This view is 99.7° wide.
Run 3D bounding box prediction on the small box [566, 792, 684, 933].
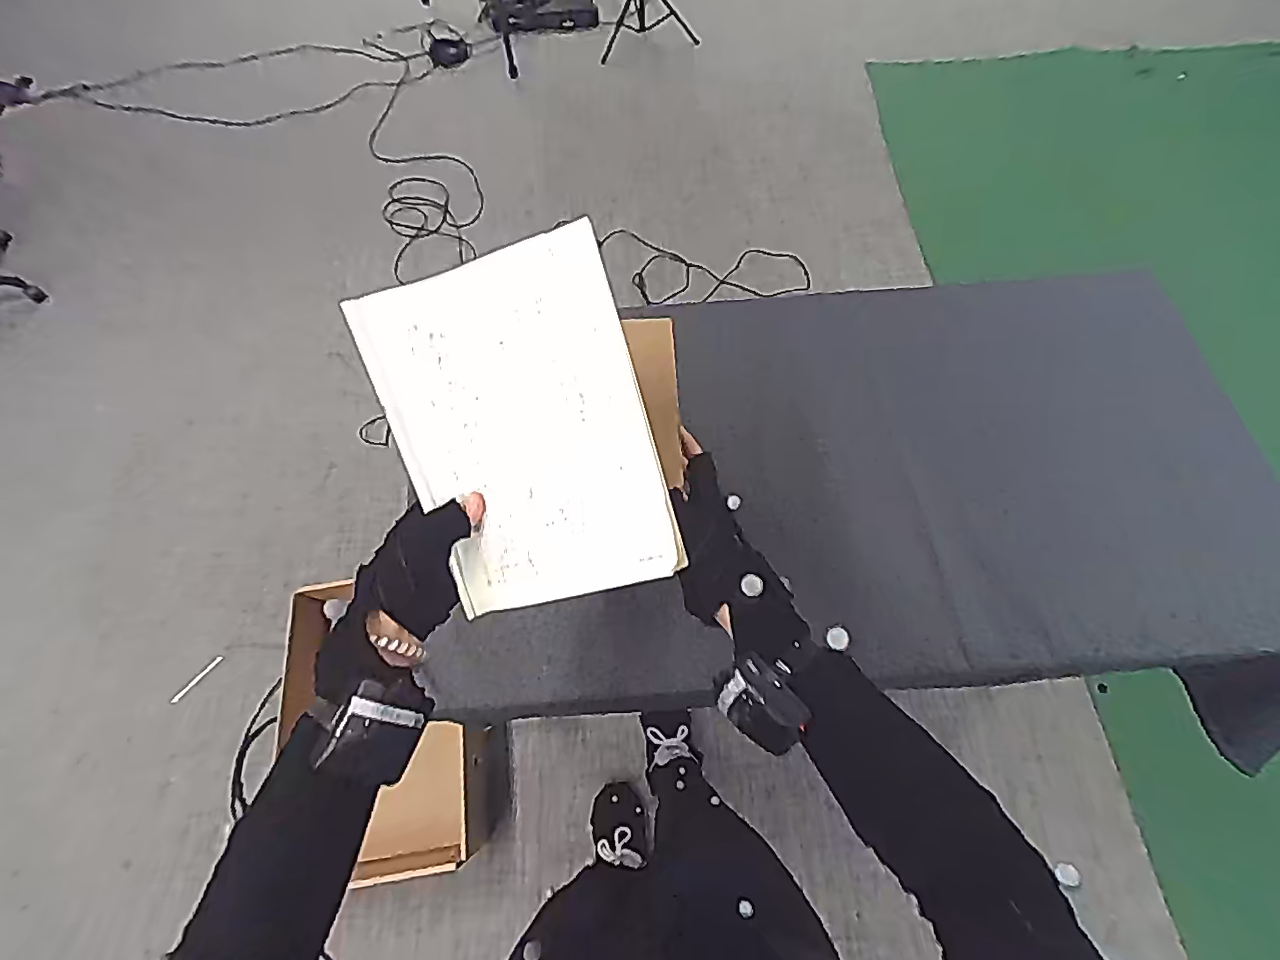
[{"bbox_3d":[-0.036,0.797,1.145,0.179,0.176,0.168,19,77,29],"label":"small box"}]
